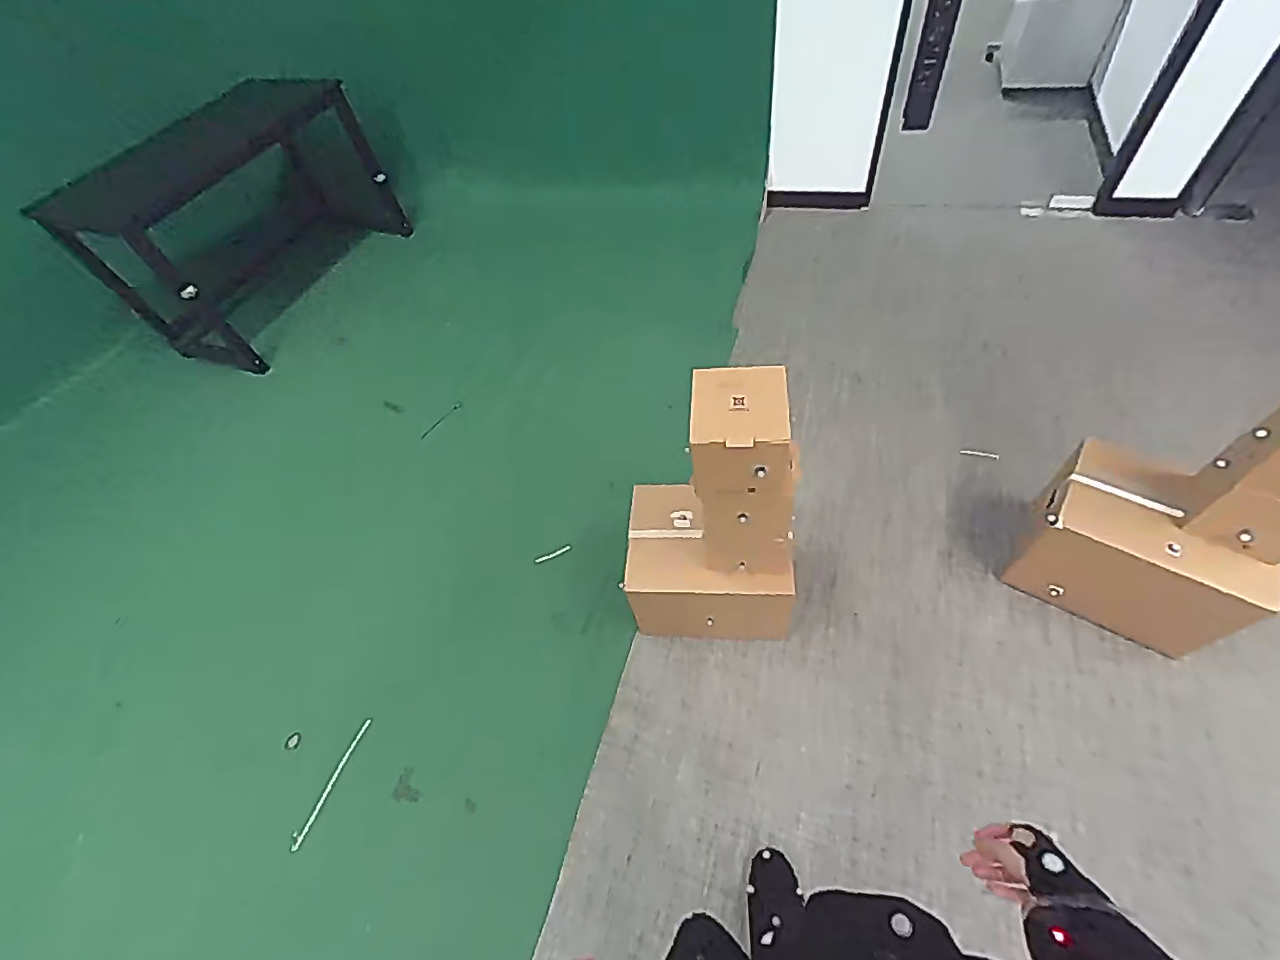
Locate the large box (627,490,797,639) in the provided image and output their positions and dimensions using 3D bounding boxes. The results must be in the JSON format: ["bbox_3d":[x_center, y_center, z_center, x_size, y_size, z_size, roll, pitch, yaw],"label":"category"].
[{"bbox_3d":[0.198,0.234,1.468,0.408,0.320,0.320,-2,53,10],"label":"large box"}]

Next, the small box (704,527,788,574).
[{"bbox_3d":[0.245,0.106,1.247,0.179,0.176,0.168,3,55,12],"label":"small box"}]

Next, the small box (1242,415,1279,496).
[{"bbox_3d":[1.281,-0.055,0.984,0.179,0.176,0.168,30,63,27],"label":"small box"}]

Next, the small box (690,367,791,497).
[{"bbox_3d":[0.185,-0.082,0.986,0.168,0.176,0.179,0,55,10],"label":"small box"}]

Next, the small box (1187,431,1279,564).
[{"bbox_3d":[1.294,0.037,1.117,0.168,0.176,0.179,28,62,26],"label":"small box"}]

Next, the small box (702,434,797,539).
[{"bbox_3d":[0.222,0.012,1.114,0.179,0.176,0.168,-2,55,10],"label":"small box"}]
